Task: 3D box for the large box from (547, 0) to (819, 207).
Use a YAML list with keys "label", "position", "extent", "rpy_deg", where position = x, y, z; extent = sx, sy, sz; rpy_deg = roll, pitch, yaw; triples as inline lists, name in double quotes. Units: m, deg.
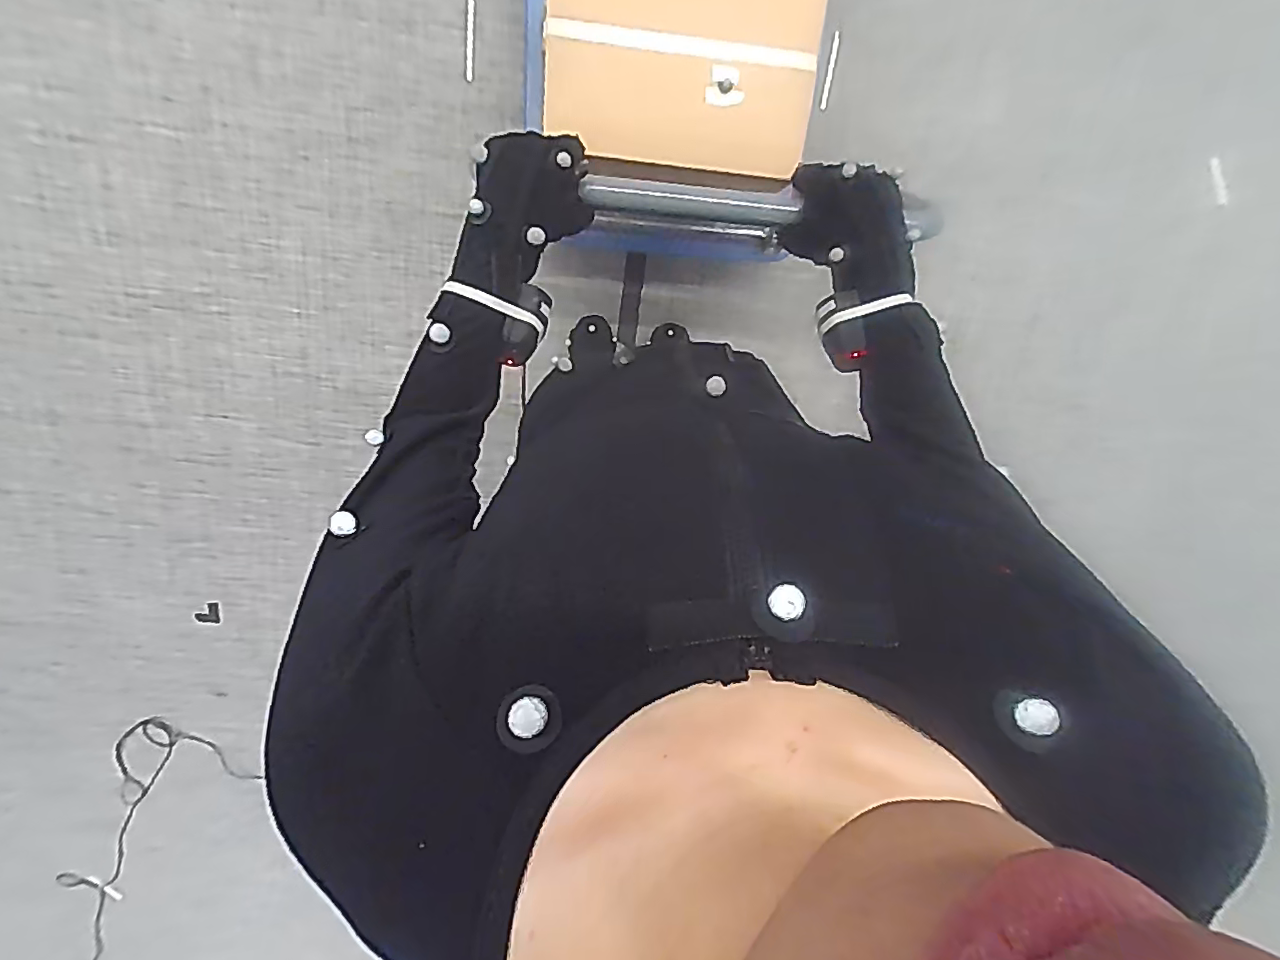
- label: "large box"
  position: [0.052, -0.693, 0.953]
  extent: [0.408, 0.320, 0.320]
  rpy_deg: [4, 108, -6]
